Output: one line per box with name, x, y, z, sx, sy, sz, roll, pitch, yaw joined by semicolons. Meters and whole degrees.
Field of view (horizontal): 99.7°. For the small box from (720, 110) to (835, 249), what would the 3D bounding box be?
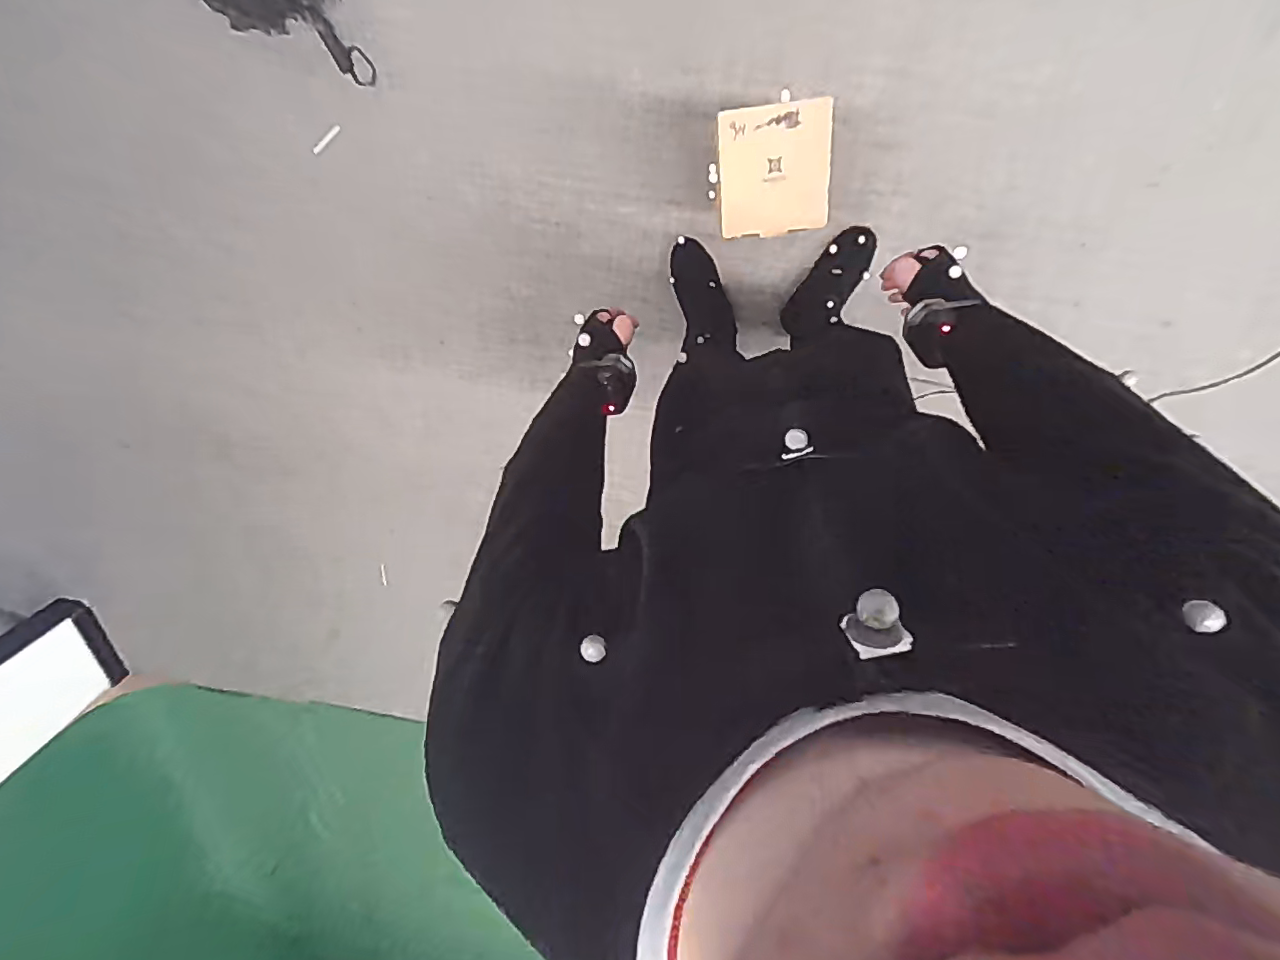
small box;0.219;-0.495;0.894;0.168;0.176;0.179;-2;121;10
